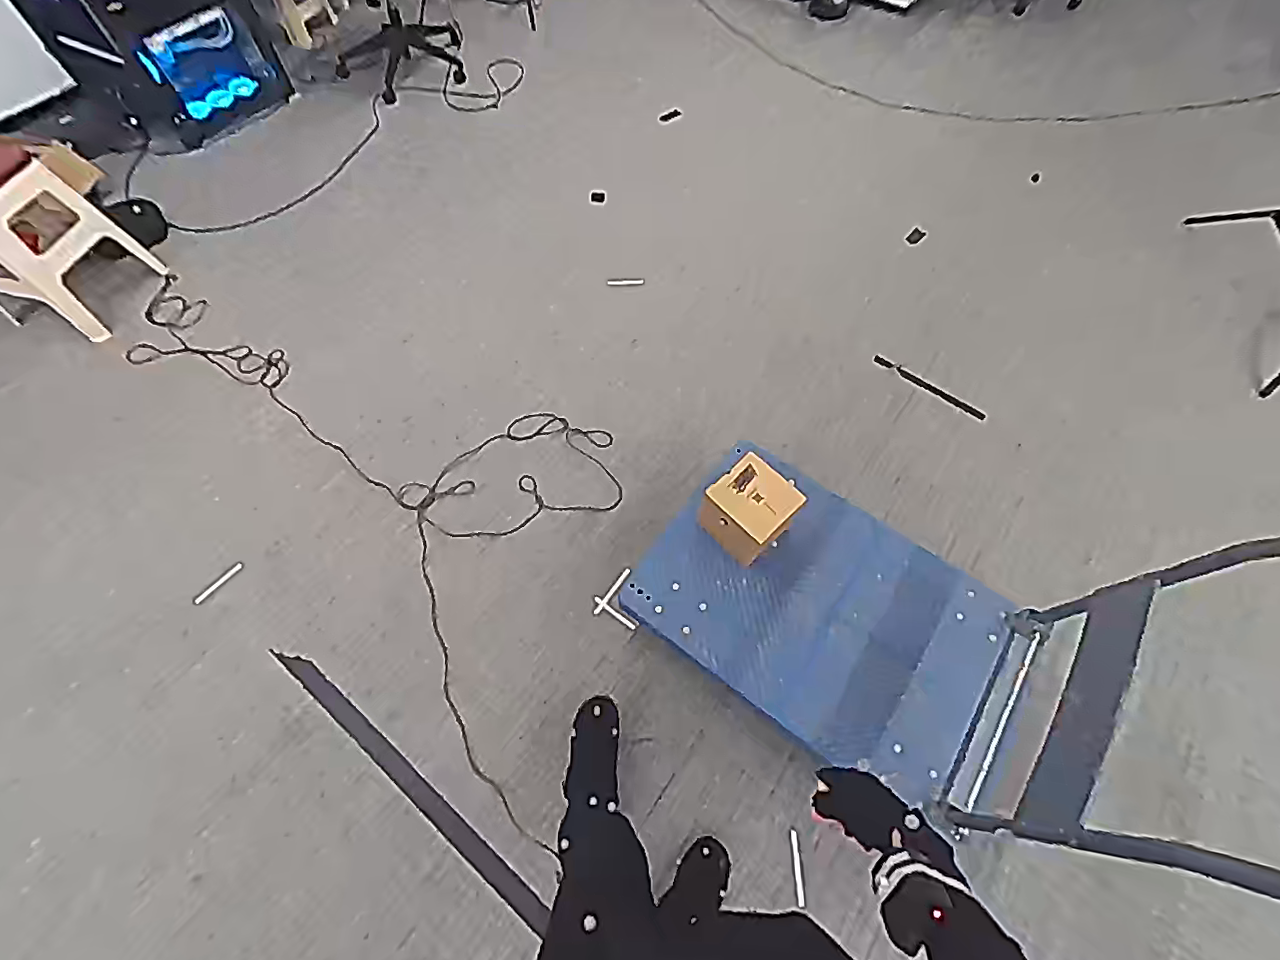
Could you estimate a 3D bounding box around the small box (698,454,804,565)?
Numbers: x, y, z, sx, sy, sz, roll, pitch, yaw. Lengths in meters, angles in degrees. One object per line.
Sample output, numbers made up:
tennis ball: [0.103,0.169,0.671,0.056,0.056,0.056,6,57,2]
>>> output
small box: [0.259,0.076,1.311,0.168,0.176,0.179,-39,70,-19]
